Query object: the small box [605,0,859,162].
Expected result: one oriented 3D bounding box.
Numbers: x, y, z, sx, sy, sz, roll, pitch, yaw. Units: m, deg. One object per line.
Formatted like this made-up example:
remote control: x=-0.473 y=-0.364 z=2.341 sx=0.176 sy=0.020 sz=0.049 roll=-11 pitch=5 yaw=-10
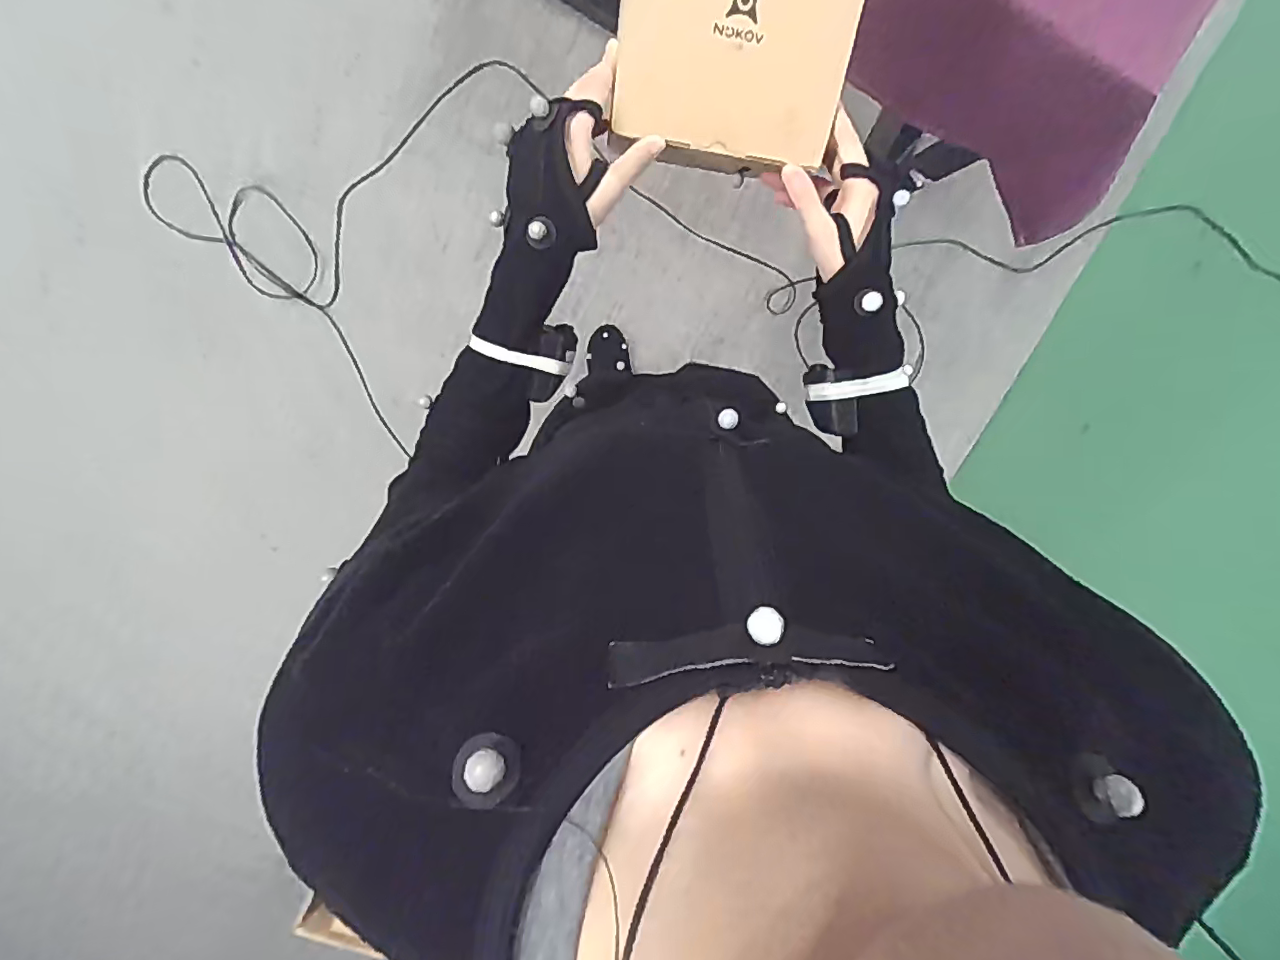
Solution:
small box: x=0.065 y=-0.371 z=0.436 sx=0.168 sy=0.176 sz=0.179 roll=7 pitch=116 yaw=-8
